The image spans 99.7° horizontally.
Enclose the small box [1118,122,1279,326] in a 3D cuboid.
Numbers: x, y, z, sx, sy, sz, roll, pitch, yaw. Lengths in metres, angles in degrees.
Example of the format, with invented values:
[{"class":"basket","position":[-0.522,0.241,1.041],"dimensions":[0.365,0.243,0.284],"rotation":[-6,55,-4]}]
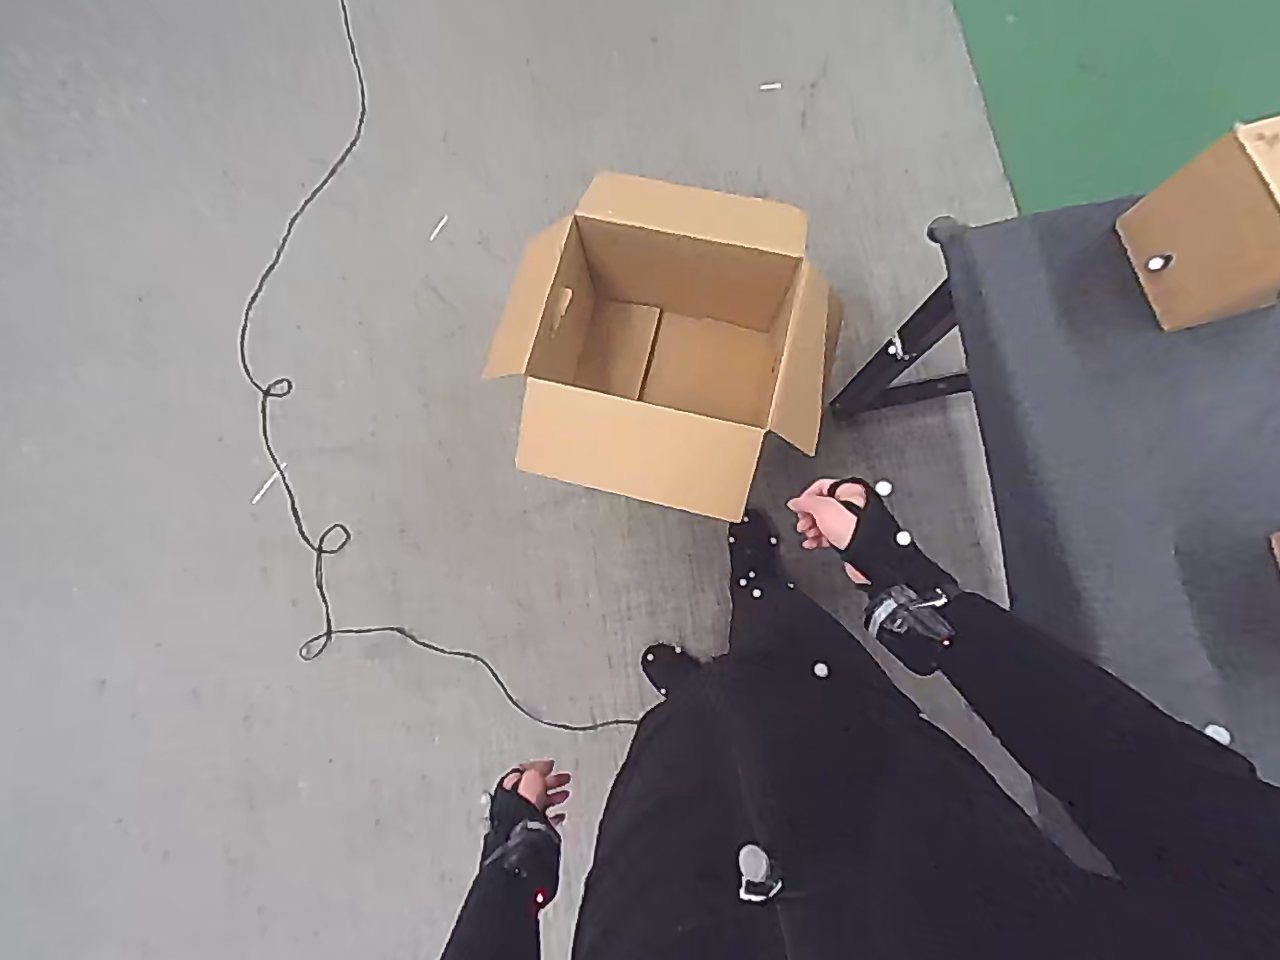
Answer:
[{"class":"small box","position":[0.758,-0.308,0.662],"dimensions":[0.168,0.176,0.179],"rotation":[-15,80,0]}]
